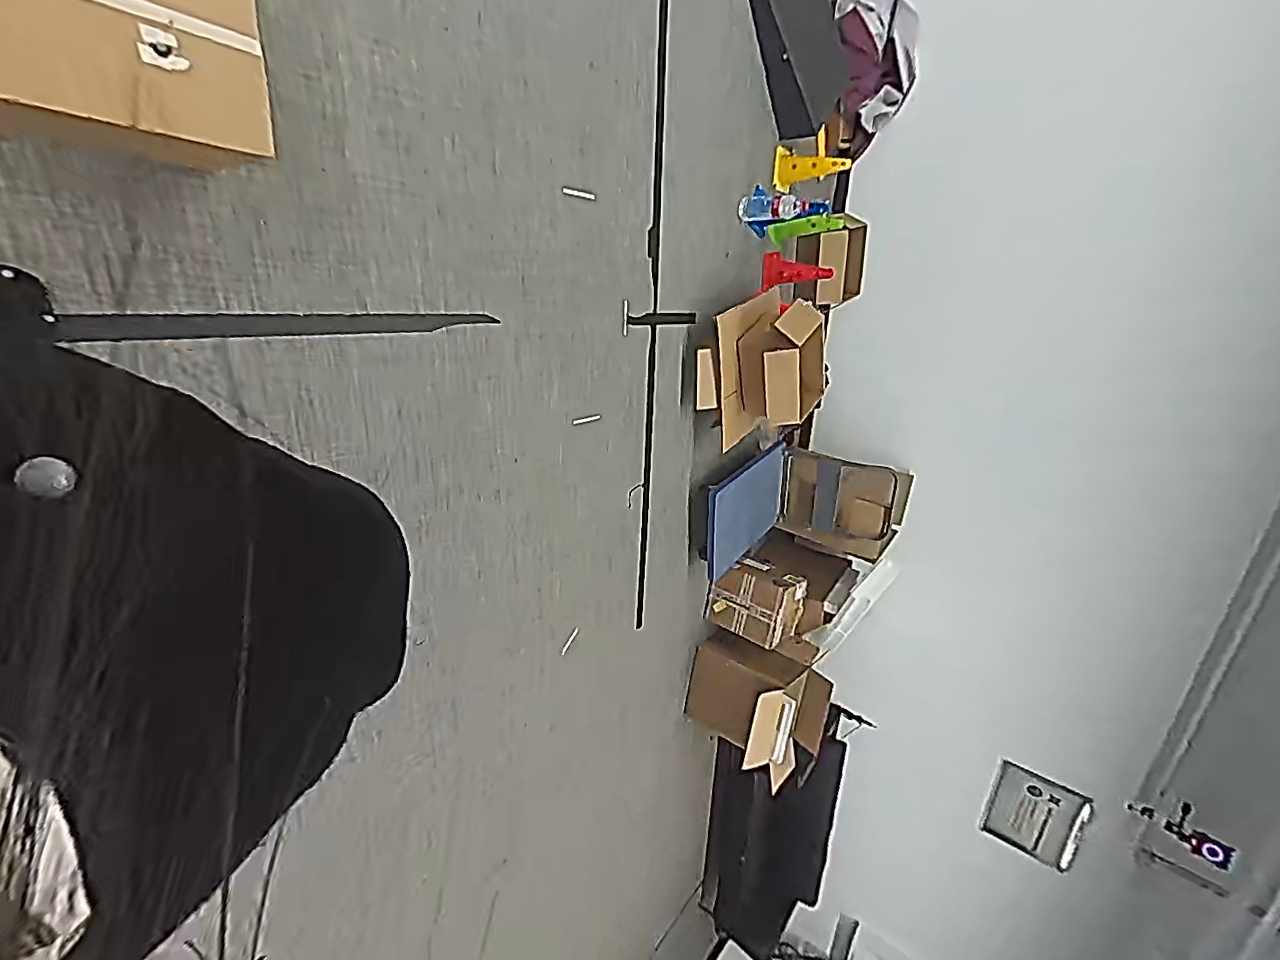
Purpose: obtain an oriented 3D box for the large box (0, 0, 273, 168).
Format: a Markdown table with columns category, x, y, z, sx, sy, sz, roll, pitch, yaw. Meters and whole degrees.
| category | x | y | z | sx | sy | sz | roll | pitch | yaw |
| --- | --- | --- | --- | --- | --- | --- | --- | --- | --- |
| large box | -0.863 | -0.700 | 0.819 | 0.408 | 0.320 | 0.320 | -19 | 119 | -50 |
